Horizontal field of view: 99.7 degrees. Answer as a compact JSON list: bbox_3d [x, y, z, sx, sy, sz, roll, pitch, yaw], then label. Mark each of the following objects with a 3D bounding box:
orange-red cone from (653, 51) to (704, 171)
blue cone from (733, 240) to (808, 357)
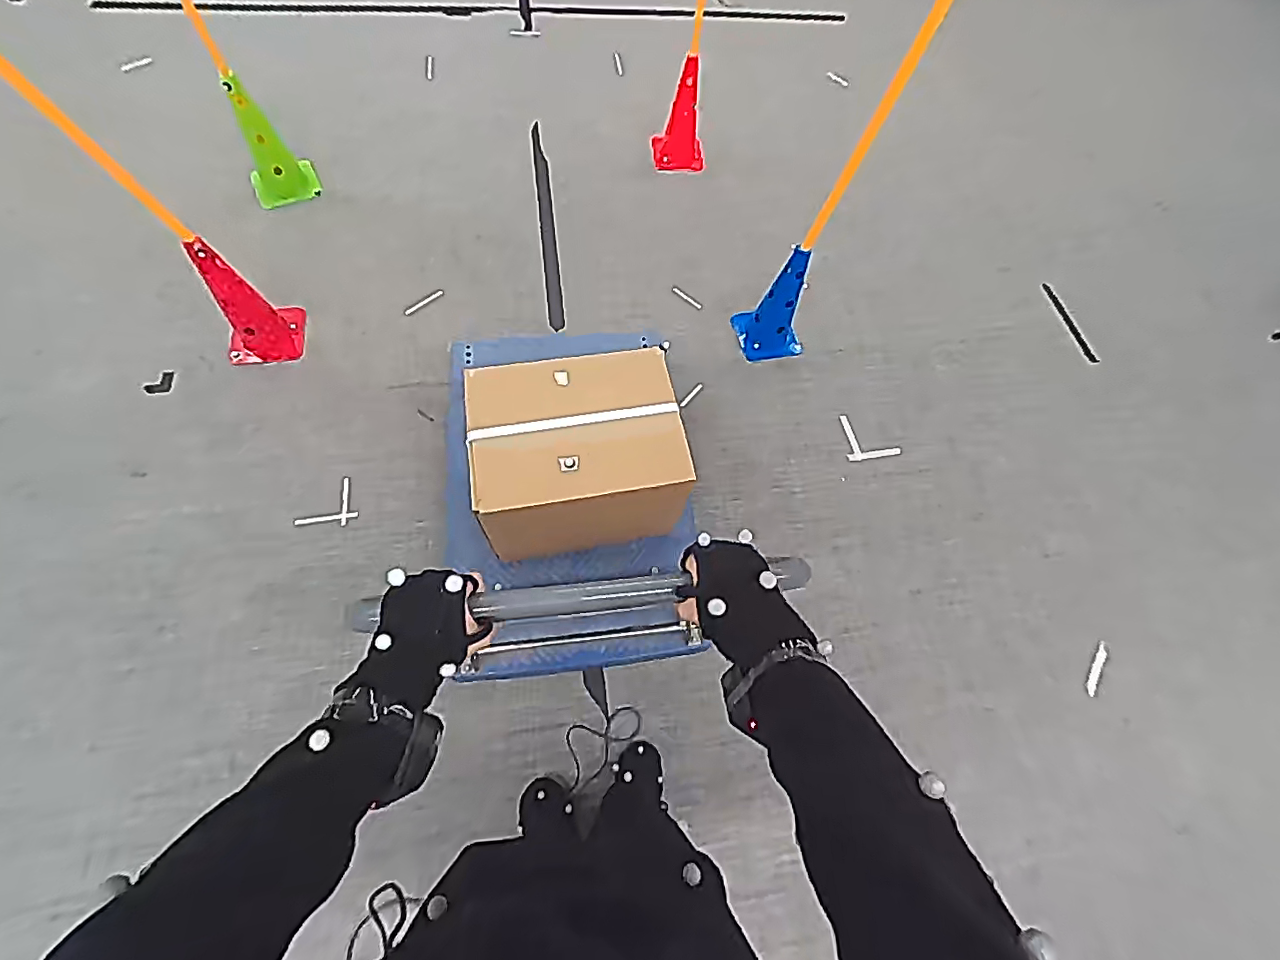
[{"bbox_3d":[0.169,-1.368,1.987,0.199,0.360,0.198,0,66,-7],"label":"orange-red cone"},{"bbox_3d":[0.434,-0.562,1.655,0.193,0.380,0.192,-10,65,-10],"label":"blue cone"}]
